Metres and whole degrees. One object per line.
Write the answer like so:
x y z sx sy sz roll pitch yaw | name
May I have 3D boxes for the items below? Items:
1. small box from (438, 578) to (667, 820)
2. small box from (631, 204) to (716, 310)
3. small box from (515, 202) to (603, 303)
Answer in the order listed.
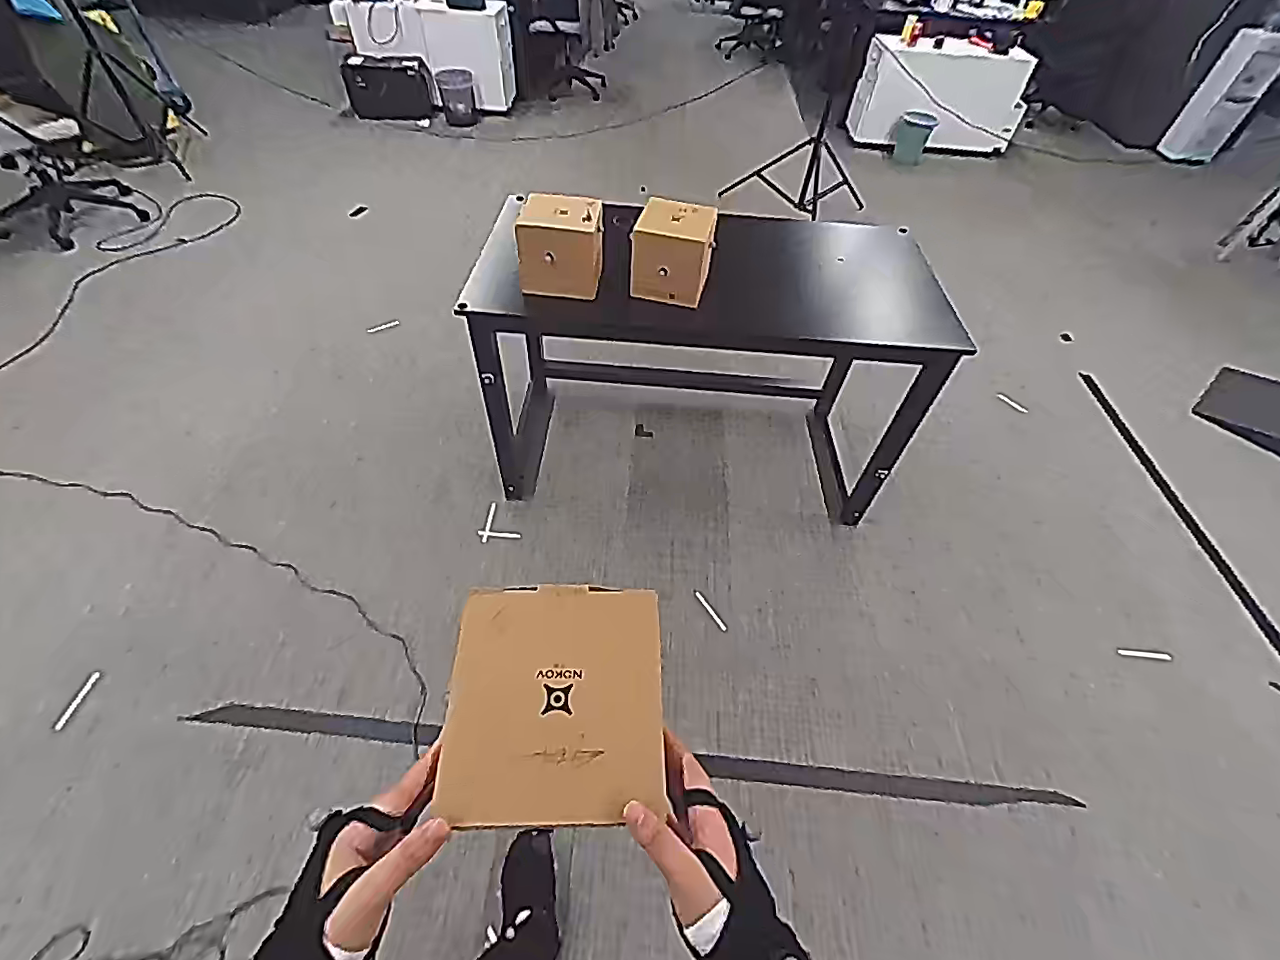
-0.070 0.204 0.494 0.168 0.176 0.179 1 57 -5 | small box
0.078 -0.533 1.301 0.168 0.176 0.179 13 50 6 | small box
-0.186 -0.541 1.290 0.179 0.176 0.168 5 50 1 | small box
